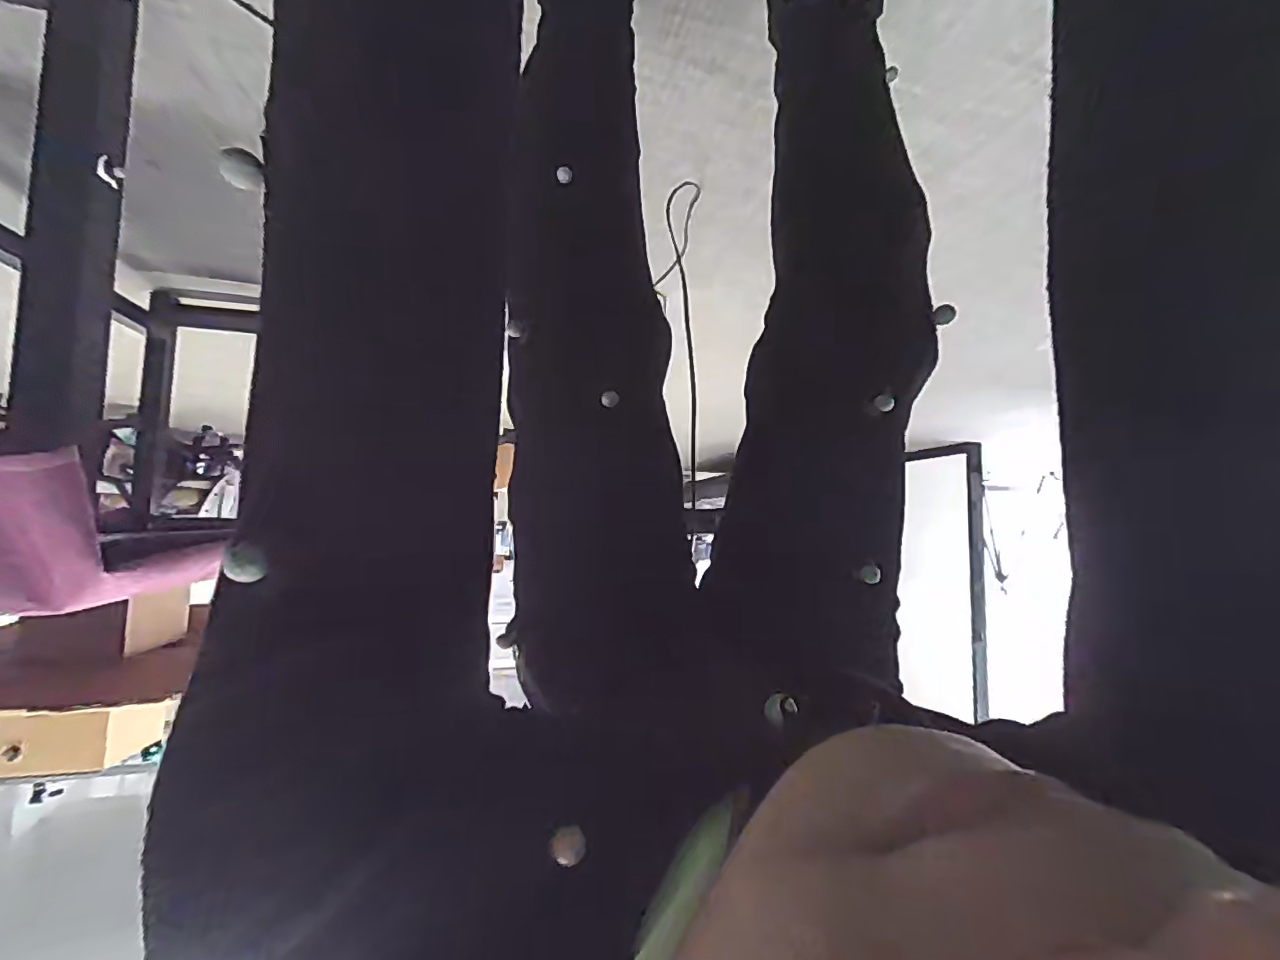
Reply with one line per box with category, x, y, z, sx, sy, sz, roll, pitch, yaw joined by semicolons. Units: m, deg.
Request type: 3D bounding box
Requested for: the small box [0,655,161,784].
small box;-0.999;0.410;0.955;0.179;0.176;0.168;2;174;-14
